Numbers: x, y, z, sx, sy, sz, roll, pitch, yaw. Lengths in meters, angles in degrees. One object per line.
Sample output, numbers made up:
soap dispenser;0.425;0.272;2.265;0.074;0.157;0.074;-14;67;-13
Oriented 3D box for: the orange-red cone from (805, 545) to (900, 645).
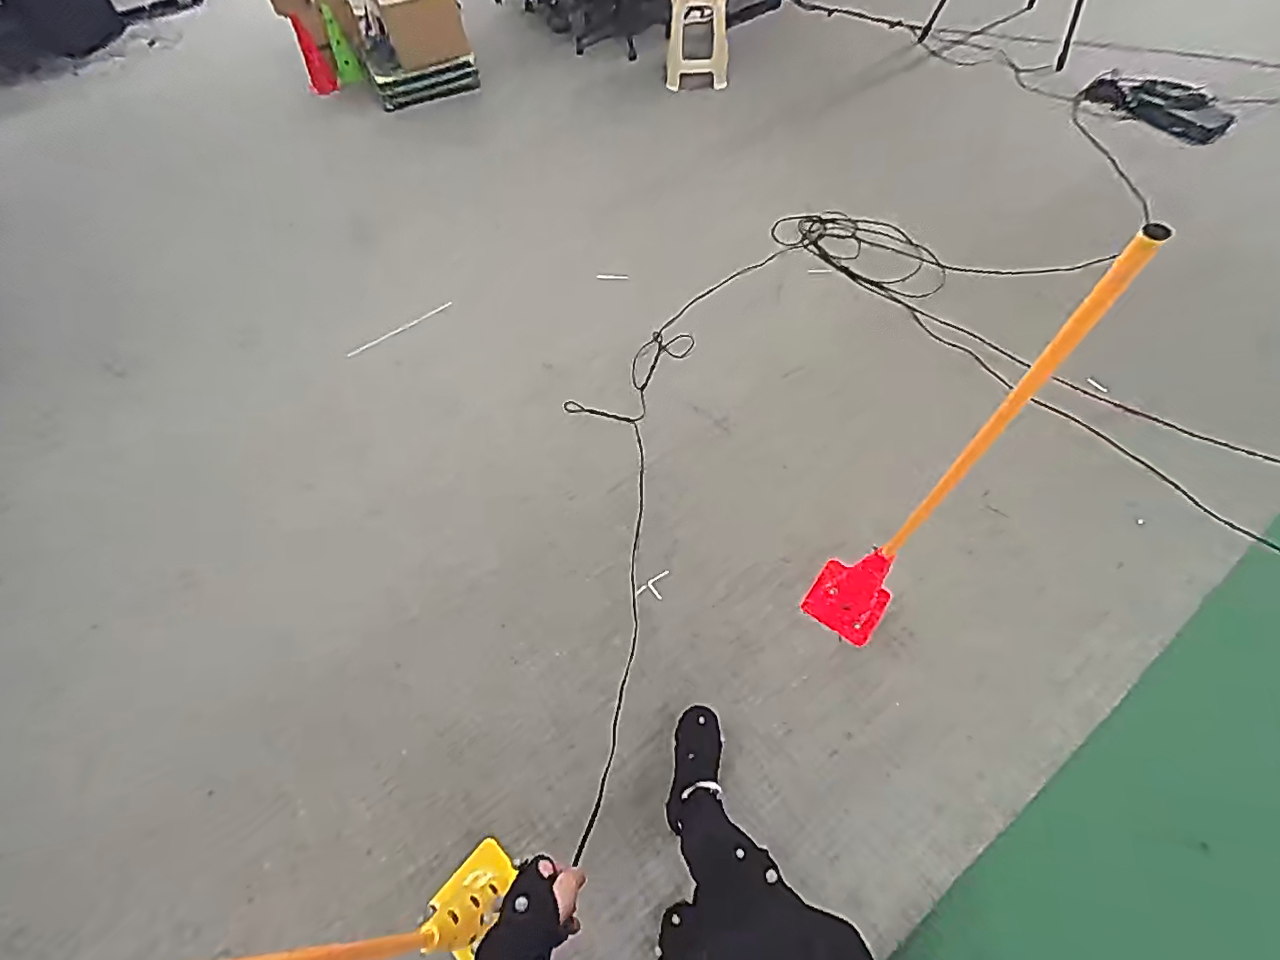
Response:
orange-red cone;0.593;0.258;1.408;0.198;0.360;0.199;34;65;20
